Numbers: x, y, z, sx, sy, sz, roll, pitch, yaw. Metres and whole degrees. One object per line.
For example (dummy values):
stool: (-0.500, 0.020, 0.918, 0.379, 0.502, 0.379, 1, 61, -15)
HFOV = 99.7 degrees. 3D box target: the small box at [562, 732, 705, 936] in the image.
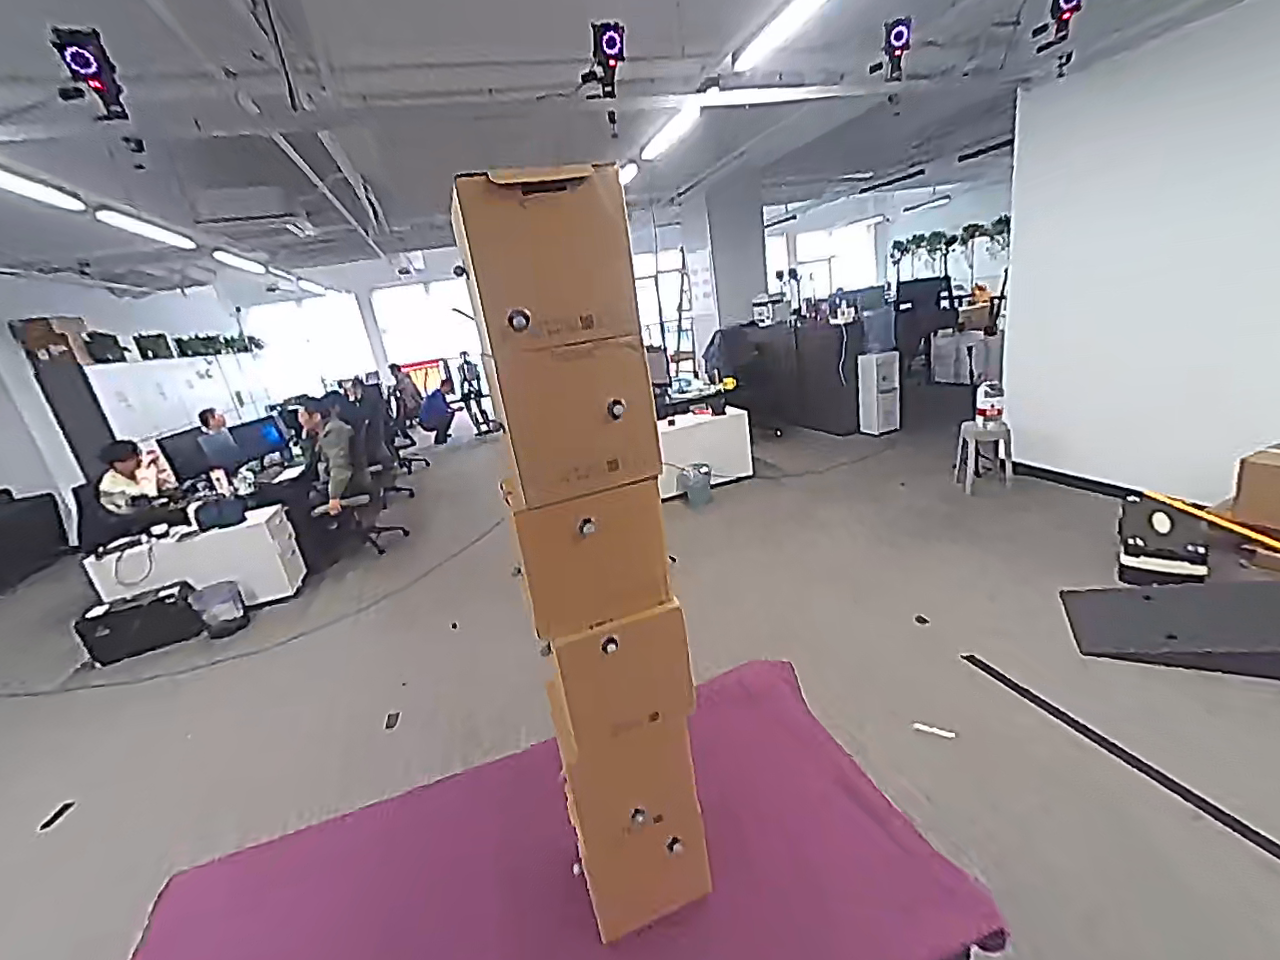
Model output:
small box: (-0.008, 0.541, 0.841, 0.179, 0.176, 0.168, -15, 18, -15)

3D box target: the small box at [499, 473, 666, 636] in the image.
small box: (-0.075, 0.074, 0.709, 0.179, 0.176, 0.168, -15, 18, -16)

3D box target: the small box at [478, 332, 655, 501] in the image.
small box: (-0.092, -0.082, 0.666, 0.168, 0.176, 0.179, -14, 17, -18)

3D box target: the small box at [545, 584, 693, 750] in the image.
small box: (-0.040, 0.228, 0.748, 0.168, 0.176, 0.179, -14, 18, -16)

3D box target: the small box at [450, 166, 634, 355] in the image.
small box: (-0.115, -0.240, 0.625, 0.168, 0.176, 0.179, -14, 17, -16)
